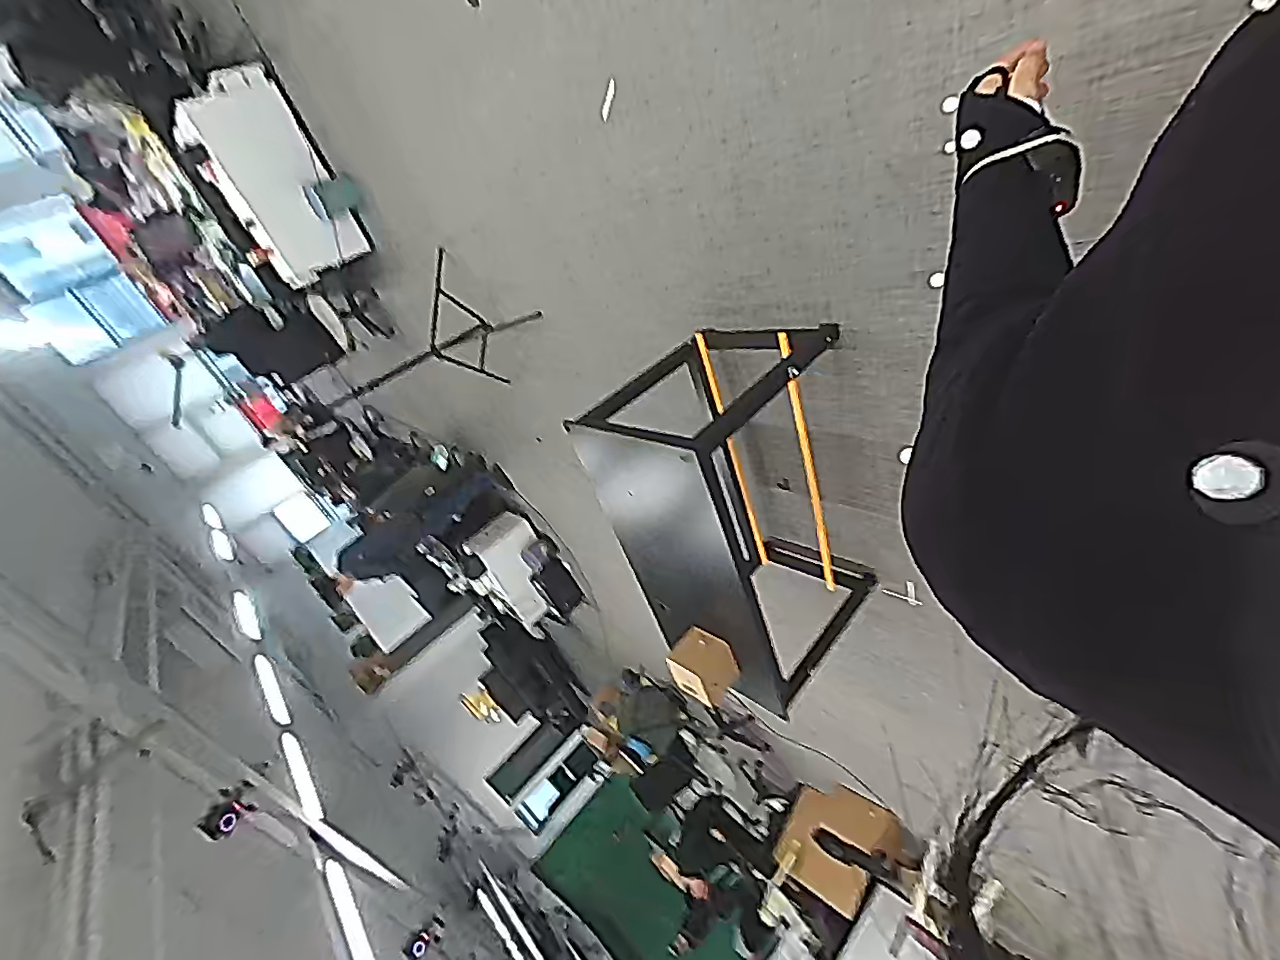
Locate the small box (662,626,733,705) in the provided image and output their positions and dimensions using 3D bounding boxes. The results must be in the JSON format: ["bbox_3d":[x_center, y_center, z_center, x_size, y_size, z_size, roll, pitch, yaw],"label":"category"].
[{"bbox_3d":[0.216,0.673,1.976,0.168,0.176,0.179,15,136,48],"label":"small box"}]
